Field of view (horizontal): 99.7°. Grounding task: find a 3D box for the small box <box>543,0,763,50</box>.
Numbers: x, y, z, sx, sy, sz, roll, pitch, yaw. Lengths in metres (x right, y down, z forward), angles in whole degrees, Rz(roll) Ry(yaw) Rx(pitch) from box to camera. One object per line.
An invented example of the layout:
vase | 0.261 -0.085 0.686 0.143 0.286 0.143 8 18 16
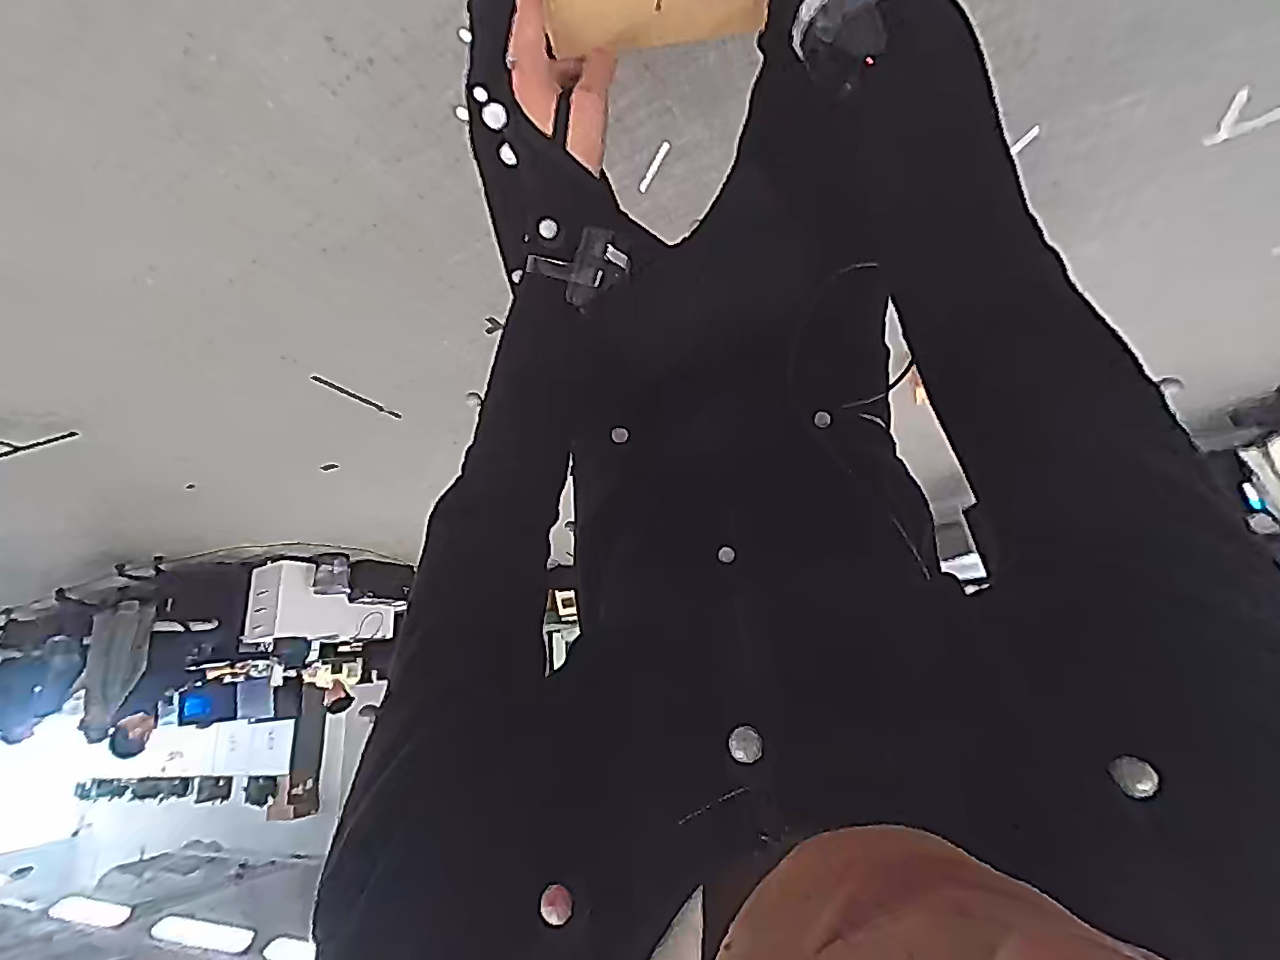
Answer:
small box | -0.007 -0.452 0.386 0.168 0.176 0.179 -12 147 -4
